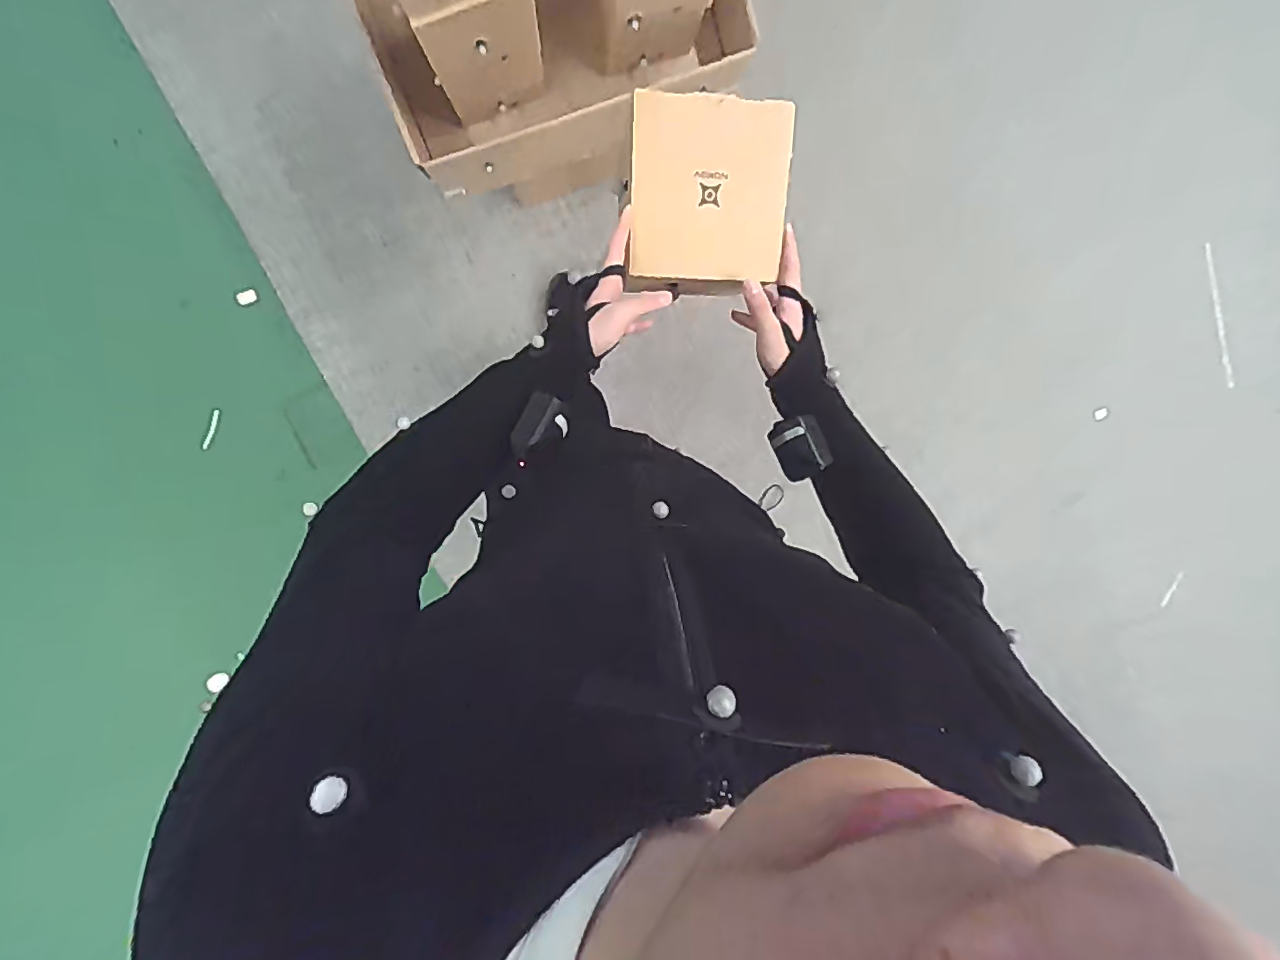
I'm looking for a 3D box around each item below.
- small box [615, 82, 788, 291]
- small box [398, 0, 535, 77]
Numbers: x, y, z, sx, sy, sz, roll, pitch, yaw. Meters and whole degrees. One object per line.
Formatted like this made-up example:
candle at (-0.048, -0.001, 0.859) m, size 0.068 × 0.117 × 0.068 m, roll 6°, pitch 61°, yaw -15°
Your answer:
small box at (0.058, -0.322, 0.631) m, size 0.168 × 0.176 × 0.179 m, roll 0°, pitch 103°, yaw -6°
small box at (-0.255, -0.701, 0.749) m, size 0.168 × 0.176 × 0.179 m, roll -21°, pitch 105°, yaw -1°
